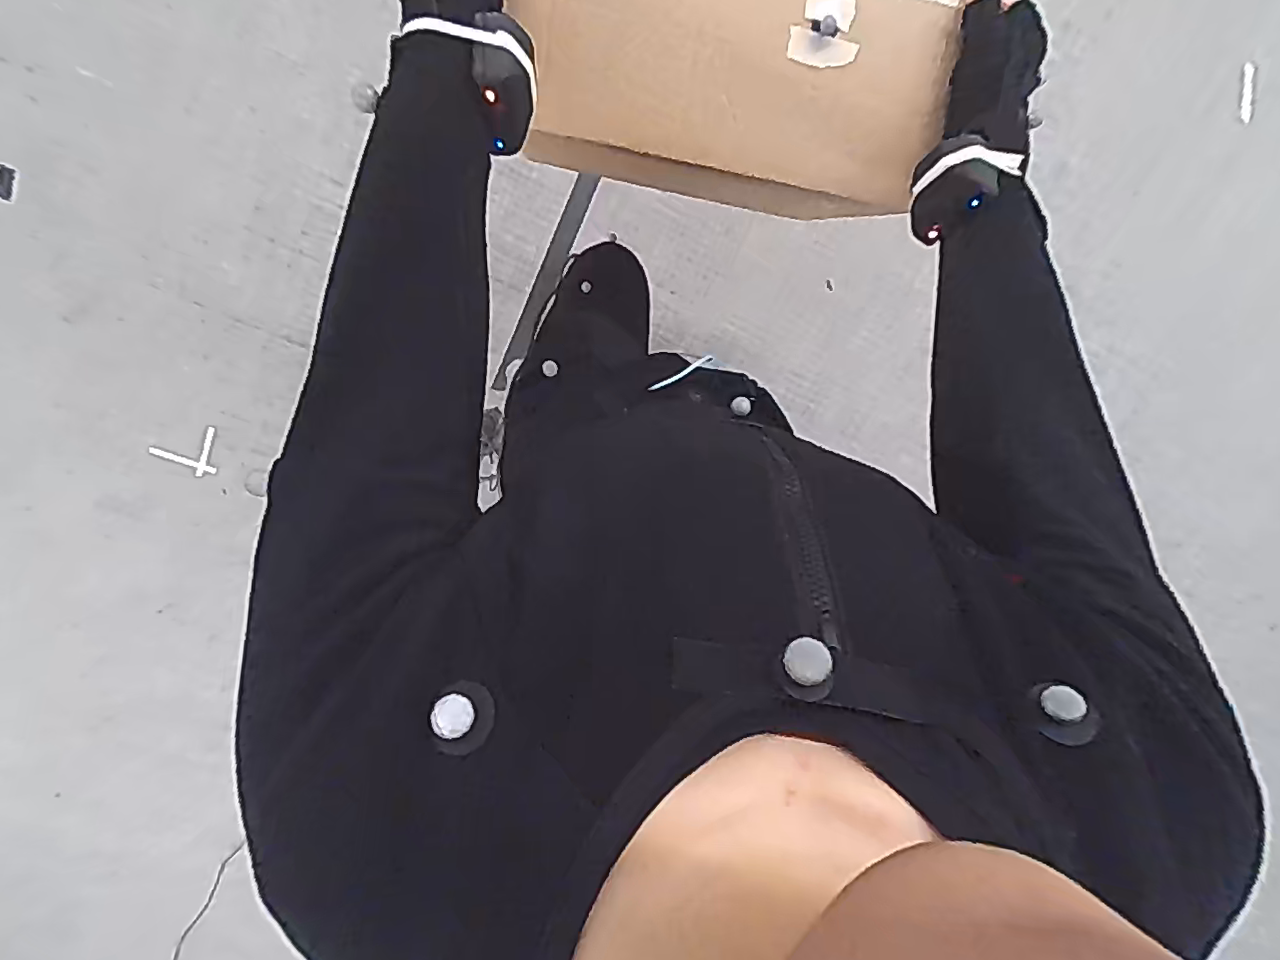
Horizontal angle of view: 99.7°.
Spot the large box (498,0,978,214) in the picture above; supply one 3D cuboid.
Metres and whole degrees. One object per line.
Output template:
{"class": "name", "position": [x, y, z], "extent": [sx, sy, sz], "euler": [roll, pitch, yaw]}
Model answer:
{"class": "large box", "position": [0.080, -0.488, 0.572], "extent": [0.408, 0.320, 0.320], "euler": [7, 114, -9]}
